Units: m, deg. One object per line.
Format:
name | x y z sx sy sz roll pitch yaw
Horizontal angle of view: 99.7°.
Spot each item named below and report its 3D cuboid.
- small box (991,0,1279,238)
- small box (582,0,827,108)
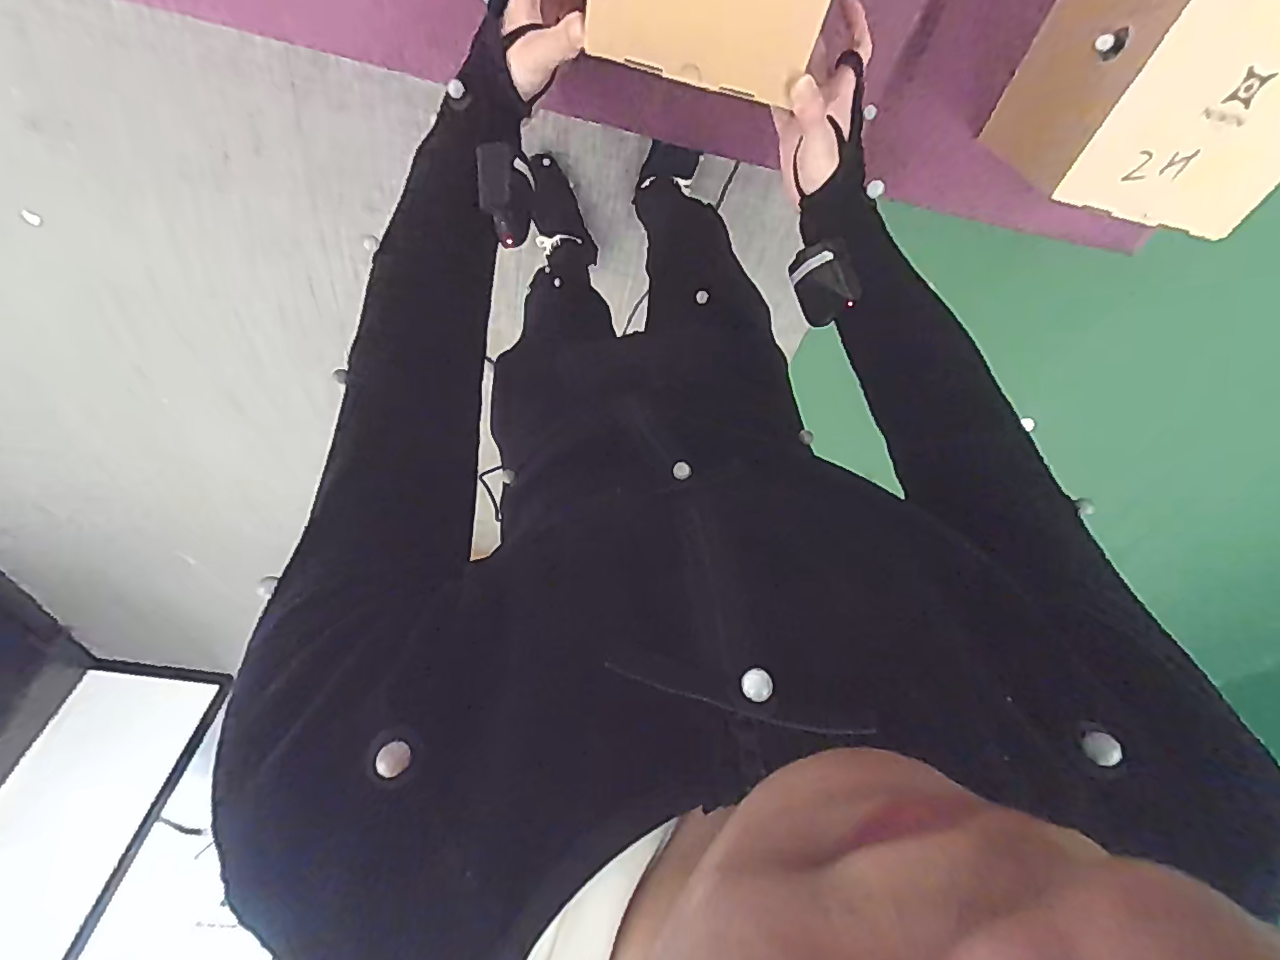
small box | 0.437 -0.336 0.445 0.168 0.176 0.179 11 136 -5
small box | 0.057 -0.416 0.399 0.168 0.176 0.179 10 138 -7
